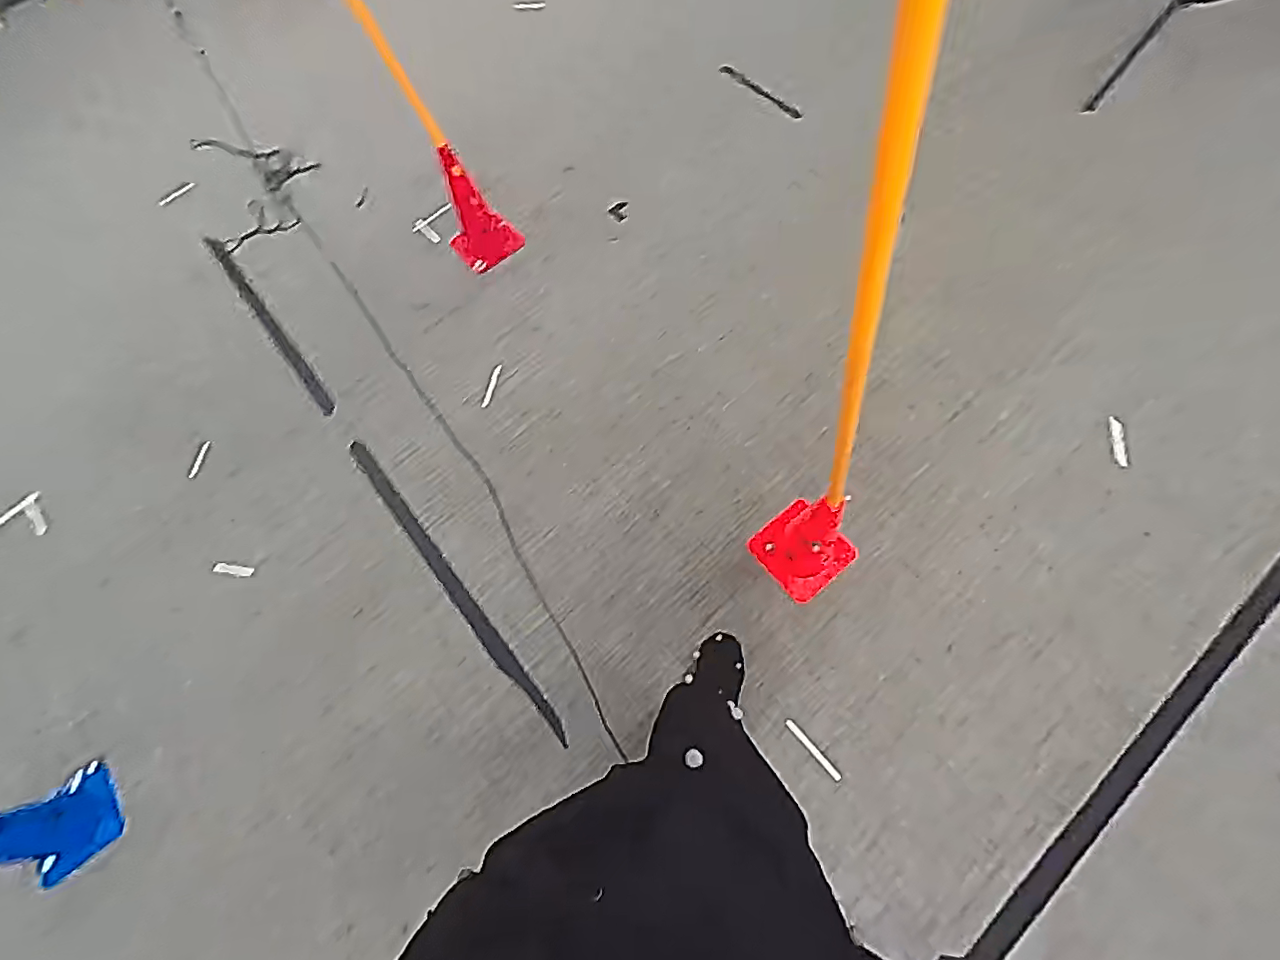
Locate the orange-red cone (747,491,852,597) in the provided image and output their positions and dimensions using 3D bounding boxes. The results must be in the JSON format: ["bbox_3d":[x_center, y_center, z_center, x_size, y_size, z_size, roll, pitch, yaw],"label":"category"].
[{"bbox_3d":[0.371,0.100,1.161,0.198,0.360,0.199,-38,70,-8],"label":"orange-red cone"}]

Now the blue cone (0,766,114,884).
[{"bbox_3d":[-1.357,0.749,1.120,0.193,0.380,0.192,-37,69,-9],"label":"blue cone"}]
